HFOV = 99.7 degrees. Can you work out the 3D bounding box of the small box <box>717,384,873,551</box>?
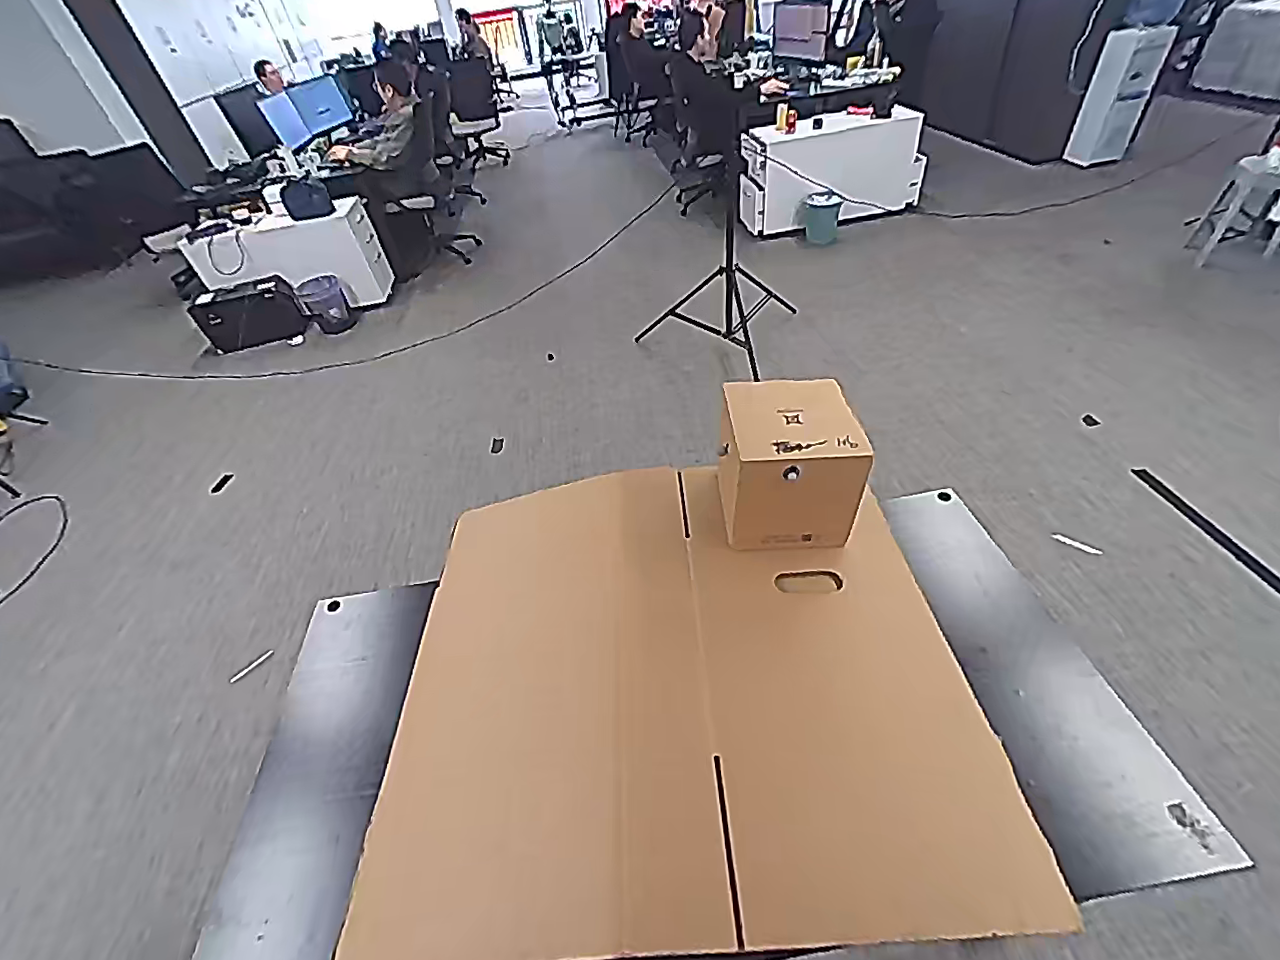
[{"bbox_3d":[0.203,-0.019,0.767,0.168,0.176,0.179,-3,41,1],"label":"small box"}]
